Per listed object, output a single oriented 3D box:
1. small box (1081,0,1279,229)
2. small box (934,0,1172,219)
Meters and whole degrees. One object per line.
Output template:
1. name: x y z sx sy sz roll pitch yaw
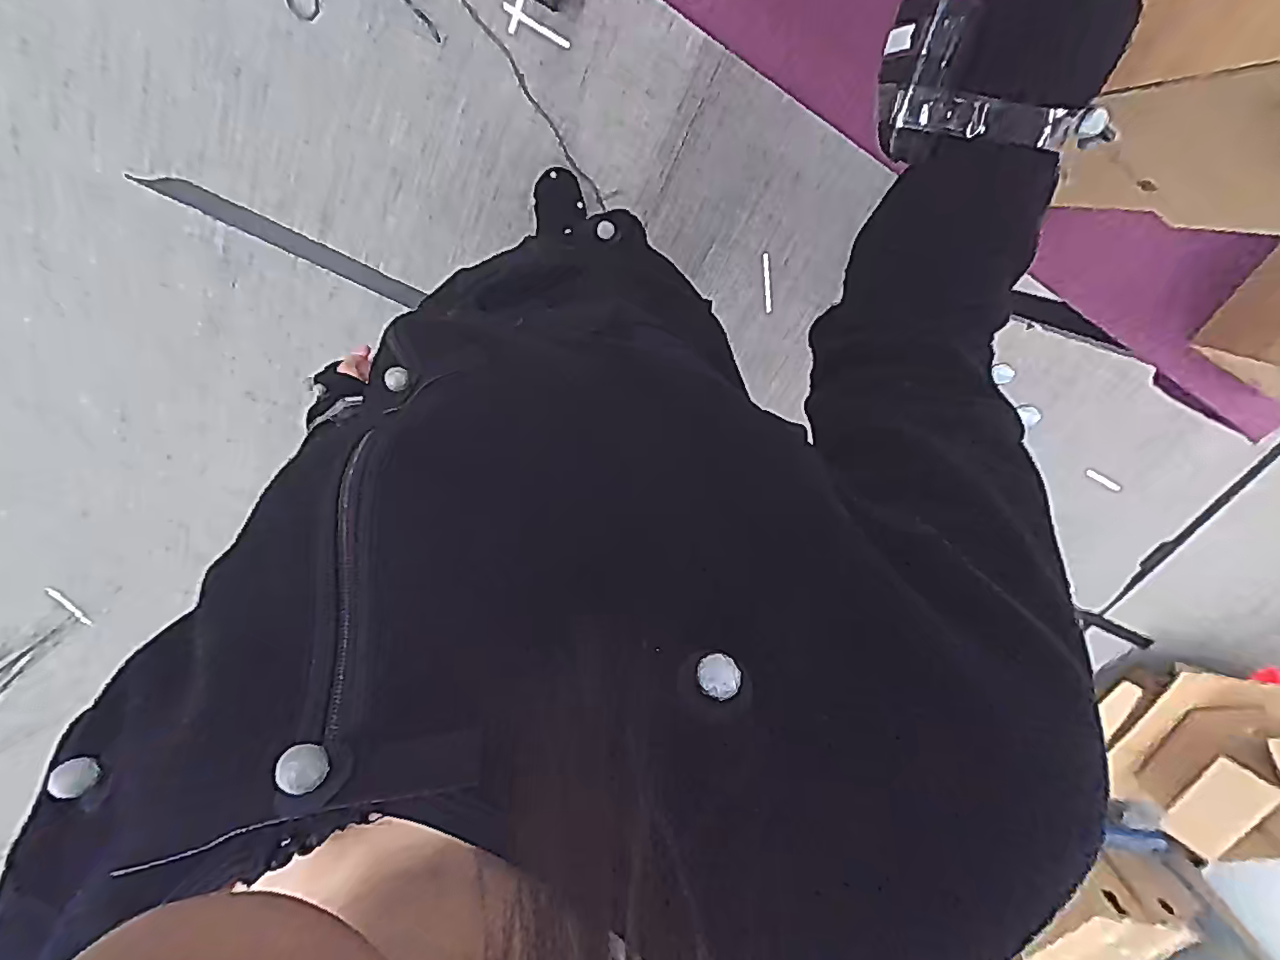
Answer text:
1. small box: 0.414 -0.264 0.313 0.168 0.176 0.179 25 114 -17
2. small box: 0.401 -0.350 0.454 0.179 0.176 0.168 24 114 -18
